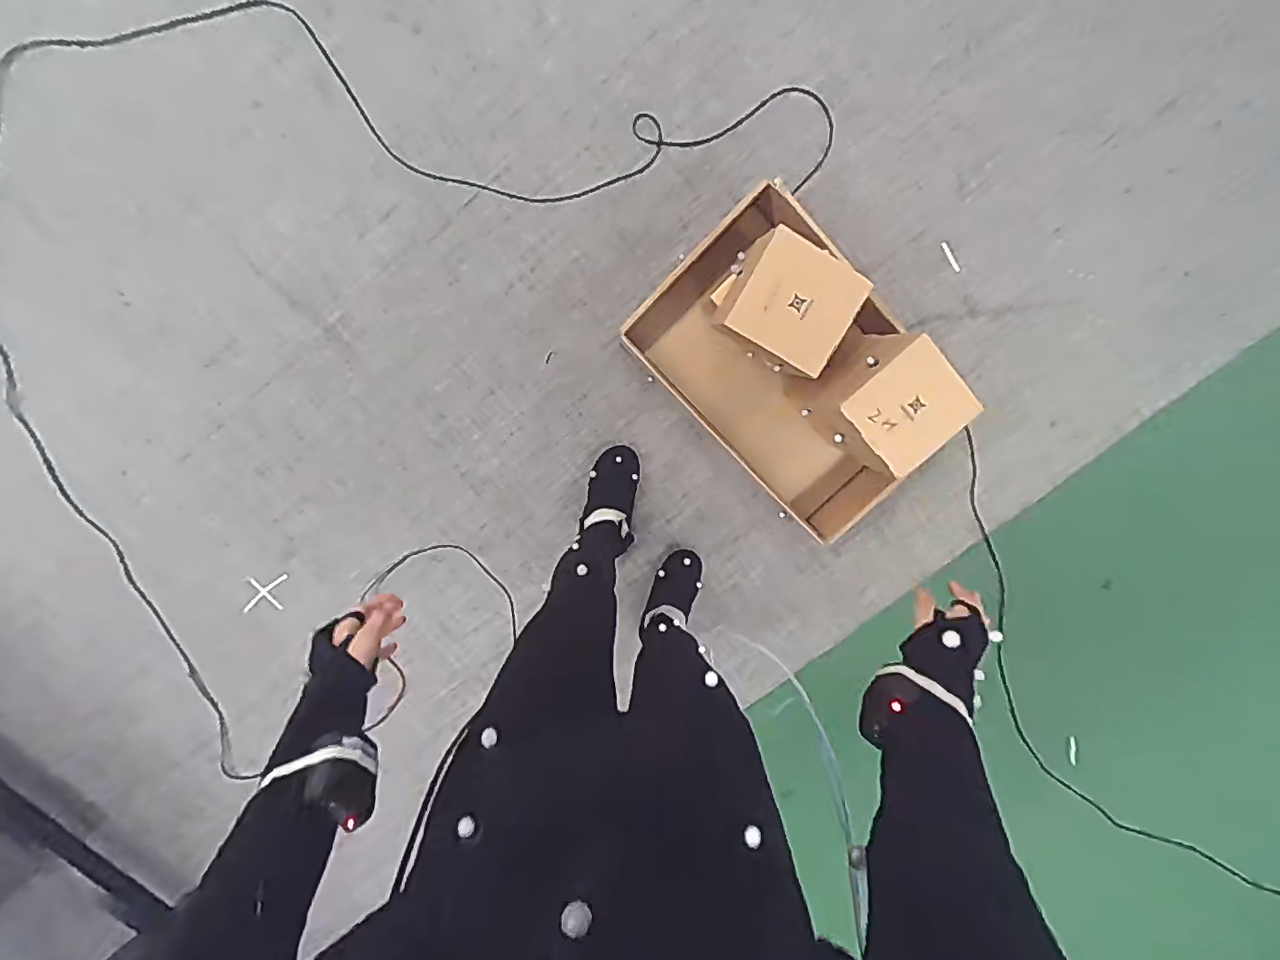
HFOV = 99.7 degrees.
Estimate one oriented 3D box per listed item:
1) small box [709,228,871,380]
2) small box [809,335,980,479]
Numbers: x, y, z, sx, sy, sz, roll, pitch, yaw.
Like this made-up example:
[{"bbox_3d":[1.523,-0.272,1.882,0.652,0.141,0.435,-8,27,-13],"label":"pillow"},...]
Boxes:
[{"bbox_3d":[0.238,-0.288,0.902,0.179,0.176,0.168,28,102,-9],"label":"small box"},{"bbox_3d":[0.429,-0.132,0.942,0.179,0.176,0.168,-42,100,8],"label":"small box"}]
